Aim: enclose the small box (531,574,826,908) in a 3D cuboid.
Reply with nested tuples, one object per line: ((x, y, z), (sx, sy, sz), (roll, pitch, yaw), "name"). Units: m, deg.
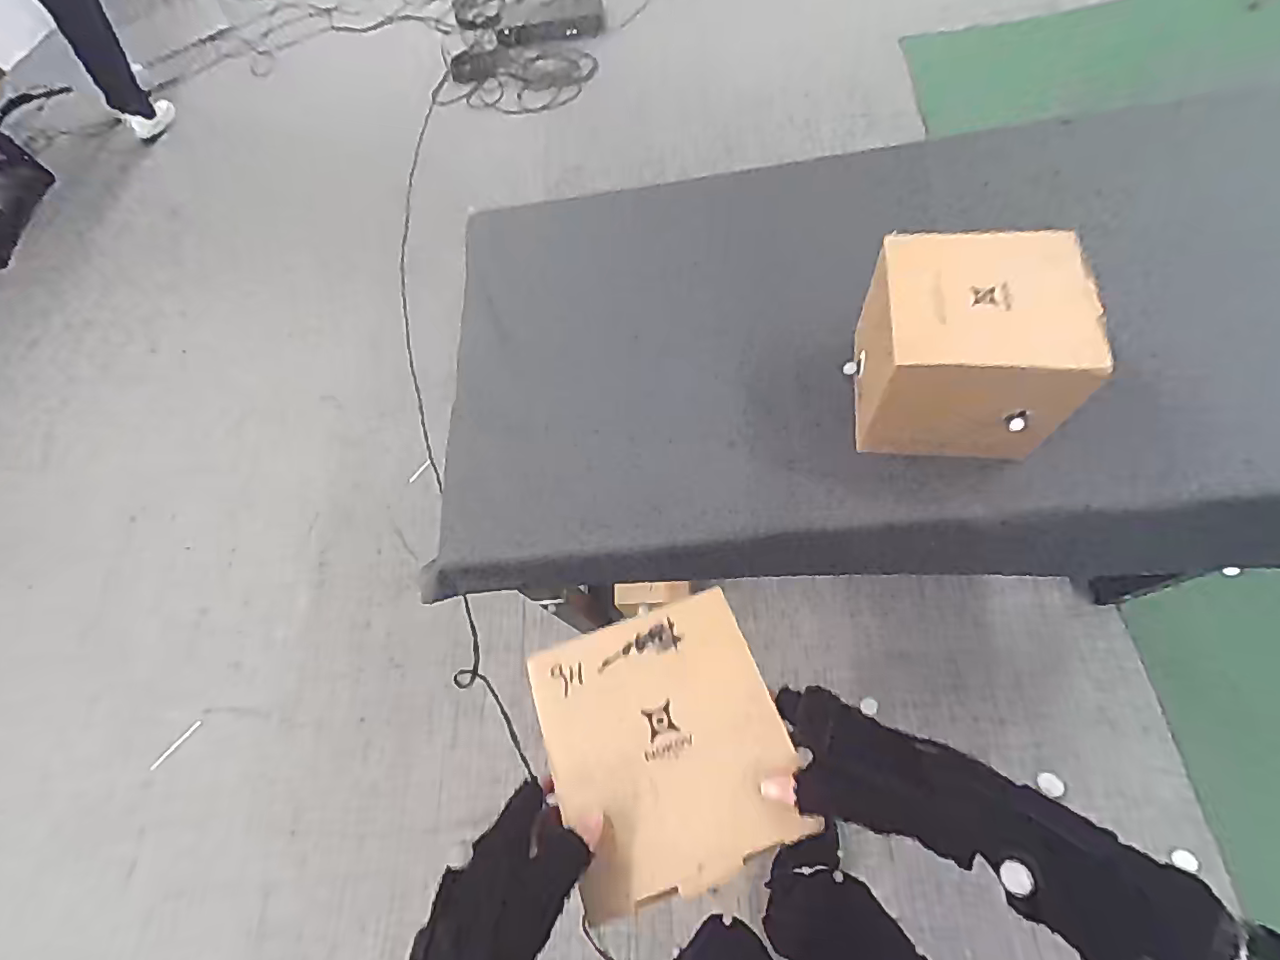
((0.024, 0.208, 0.449), (0.168, 0.176, 0.179), (-18, 60, -8), "small box")

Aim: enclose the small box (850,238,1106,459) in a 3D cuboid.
((0.337, -0.133, 0.582), (0.179, 0.176, 0.168), (3, 64, 11), "small box")
